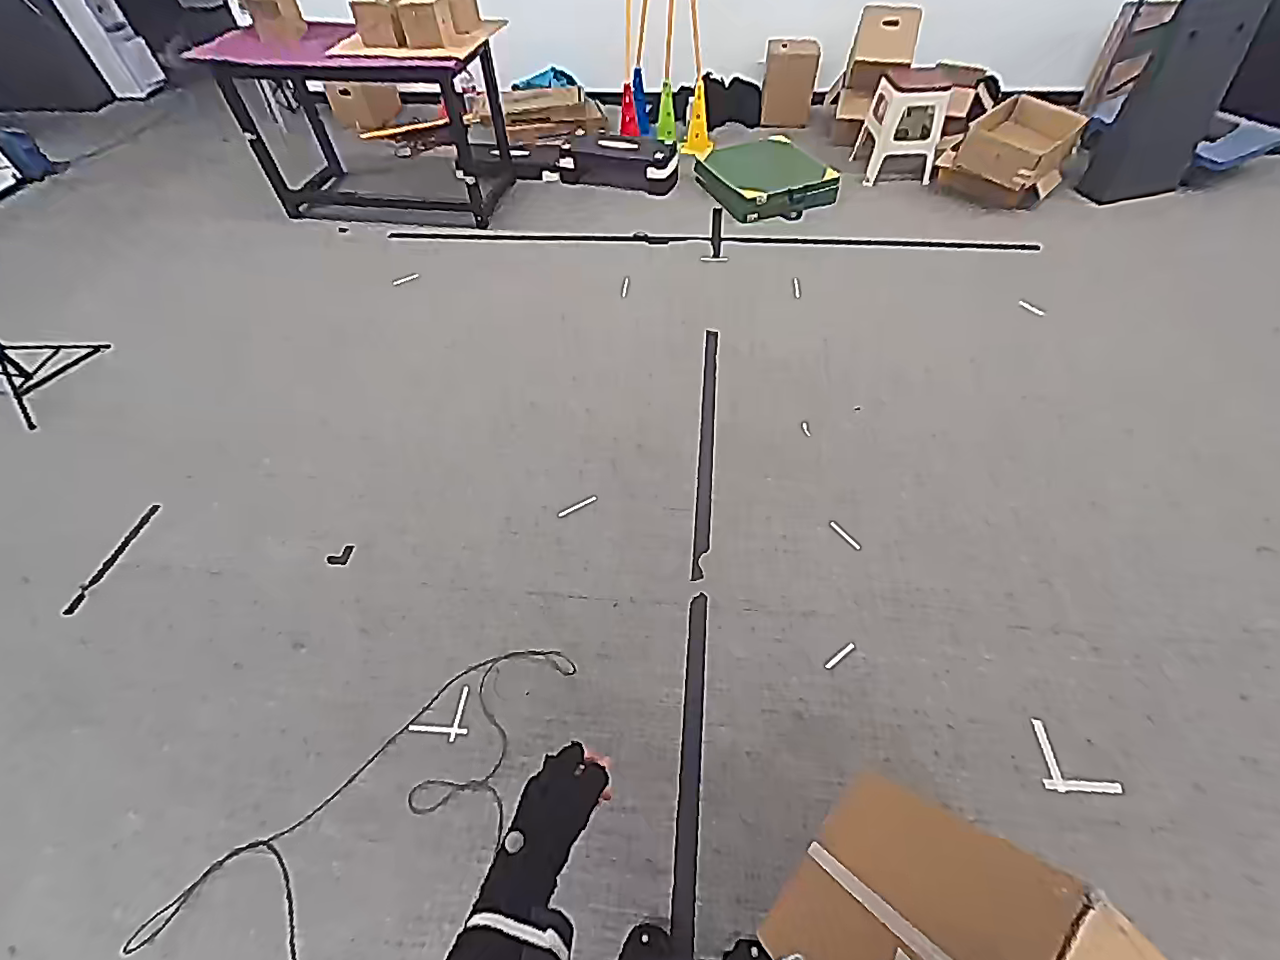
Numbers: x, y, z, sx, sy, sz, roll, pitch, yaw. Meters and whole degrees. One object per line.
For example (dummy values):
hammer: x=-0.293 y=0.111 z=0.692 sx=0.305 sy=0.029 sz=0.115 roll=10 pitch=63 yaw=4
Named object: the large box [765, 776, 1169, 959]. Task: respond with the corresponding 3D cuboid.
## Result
large box: x=0.439 y=0.671 z=0.695 sx=0.320 sy=0.408 sz=0.320 roll=43 pitch=74 yaw=-1
